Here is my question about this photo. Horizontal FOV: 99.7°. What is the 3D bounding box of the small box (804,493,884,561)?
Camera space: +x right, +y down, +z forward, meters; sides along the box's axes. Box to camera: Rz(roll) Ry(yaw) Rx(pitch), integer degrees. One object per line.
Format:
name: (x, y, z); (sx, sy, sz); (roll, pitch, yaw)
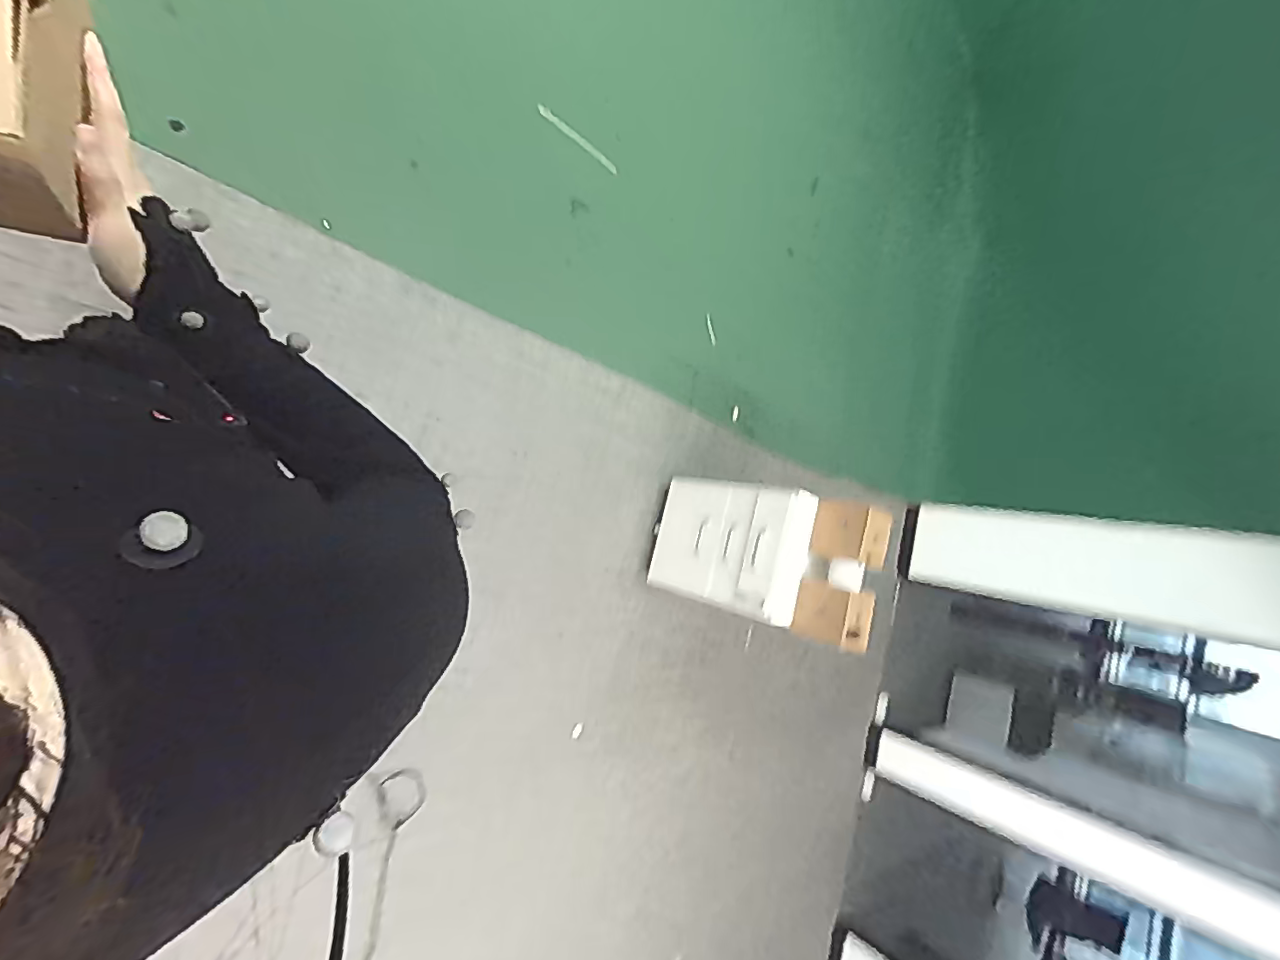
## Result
small box: (0.638, 0.144, 1.704); (0.168, 0.176, 0.179); (18, 84, -41)
